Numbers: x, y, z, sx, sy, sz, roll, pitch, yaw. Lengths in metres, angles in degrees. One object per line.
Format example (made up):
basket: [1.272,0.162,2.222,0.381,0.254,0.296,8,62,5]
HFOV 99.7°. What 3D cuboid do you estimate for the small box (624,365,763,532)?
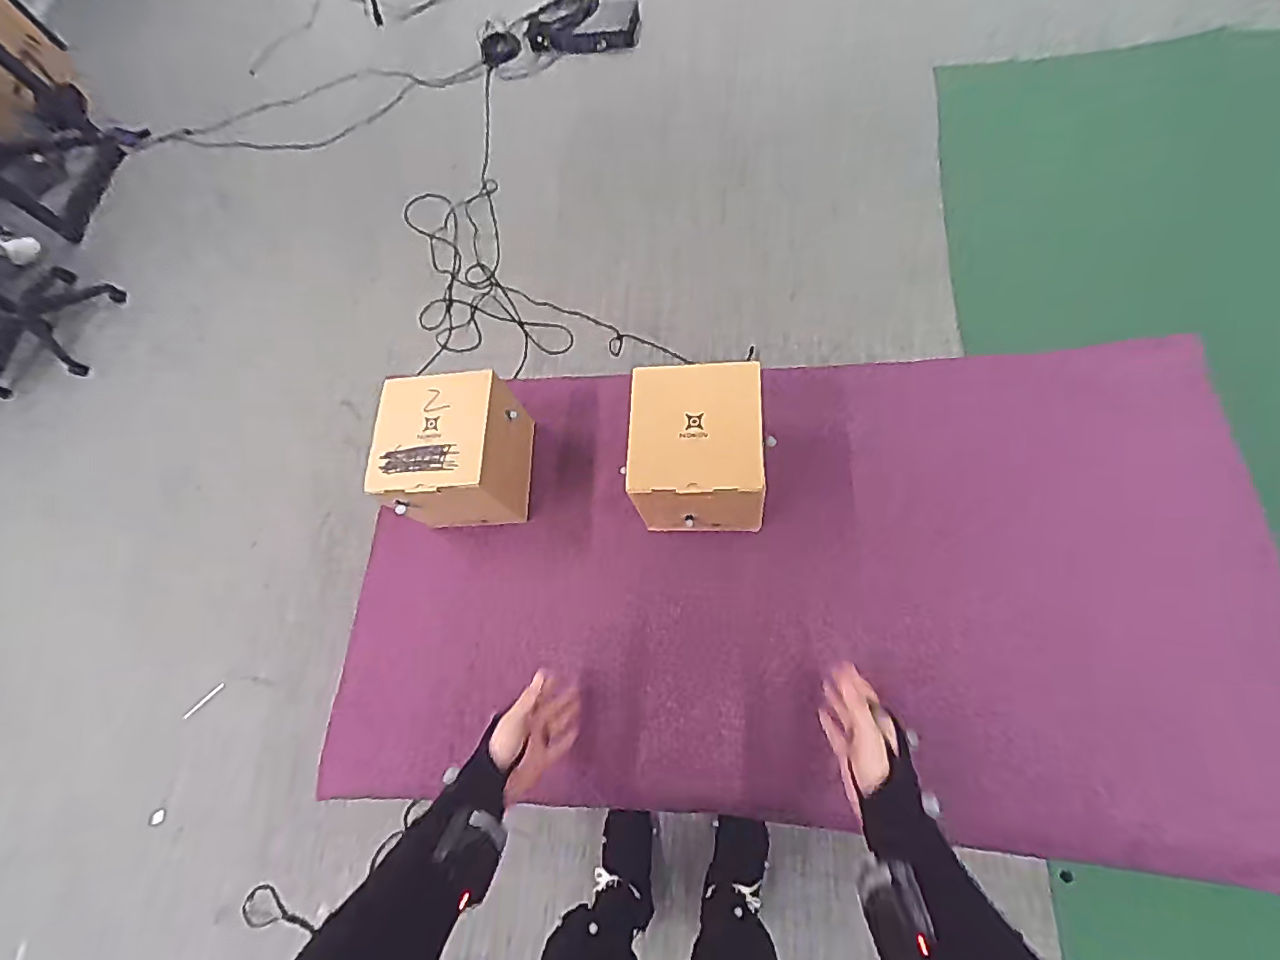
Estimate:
small box: [0.078,-0.036,0.736,0.168,0.176,0.179,-1,70,10]
